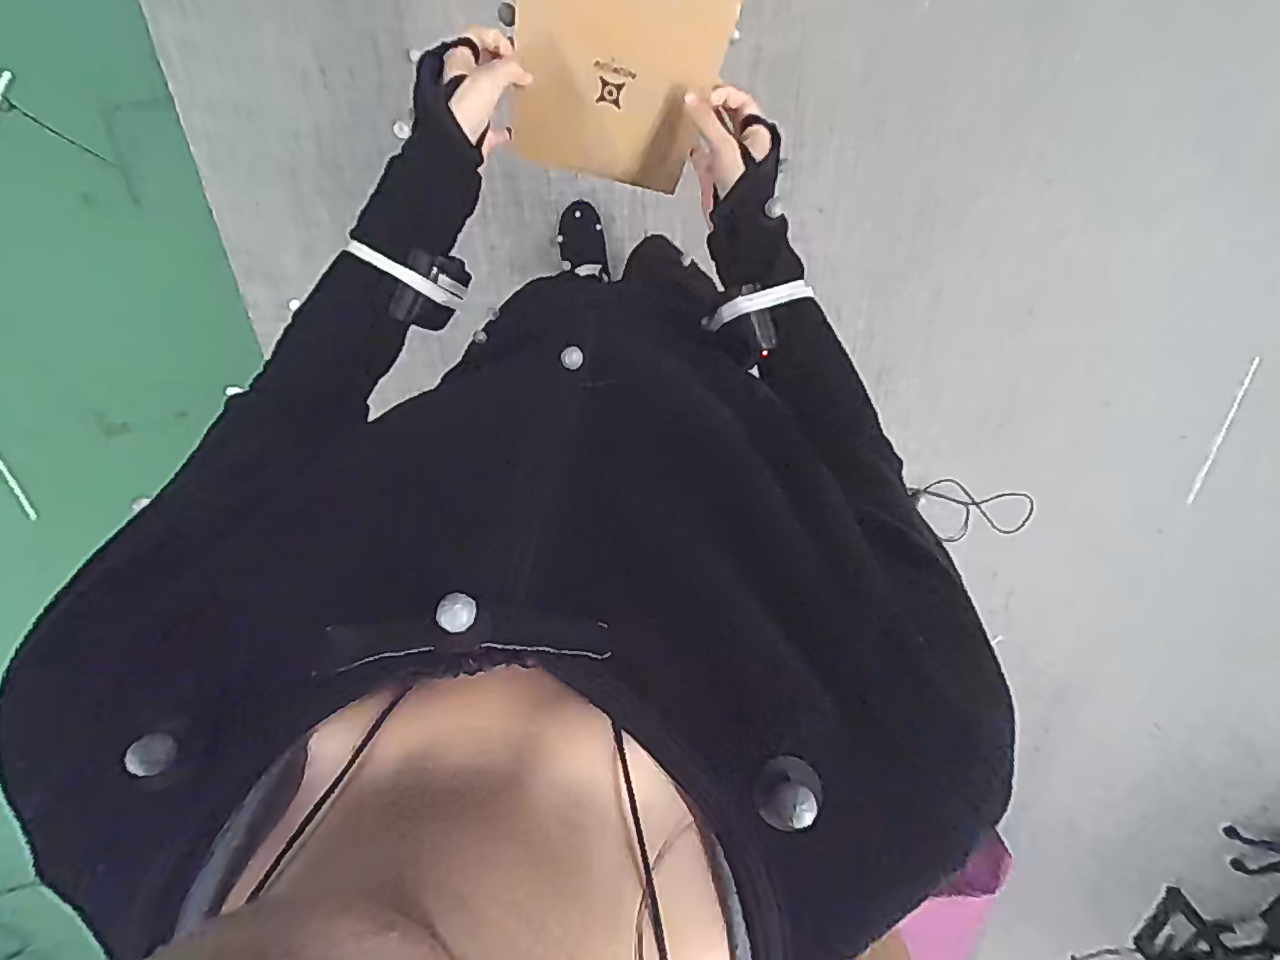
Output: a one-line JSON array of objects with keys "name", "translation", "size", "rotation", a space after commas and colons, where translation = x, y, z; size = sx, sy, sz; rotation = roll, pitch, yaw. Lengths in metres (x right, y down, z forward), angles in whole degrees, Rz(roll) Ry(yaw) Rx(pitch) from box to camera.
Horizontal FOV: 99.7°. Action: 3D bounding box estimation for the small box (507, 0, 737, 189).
[{"name": "small box", "translation": [-0.021, -0.412, 0.486], "size": [0.168, 0.176, 0.179], "rotation": [9, 155, -12]}]
